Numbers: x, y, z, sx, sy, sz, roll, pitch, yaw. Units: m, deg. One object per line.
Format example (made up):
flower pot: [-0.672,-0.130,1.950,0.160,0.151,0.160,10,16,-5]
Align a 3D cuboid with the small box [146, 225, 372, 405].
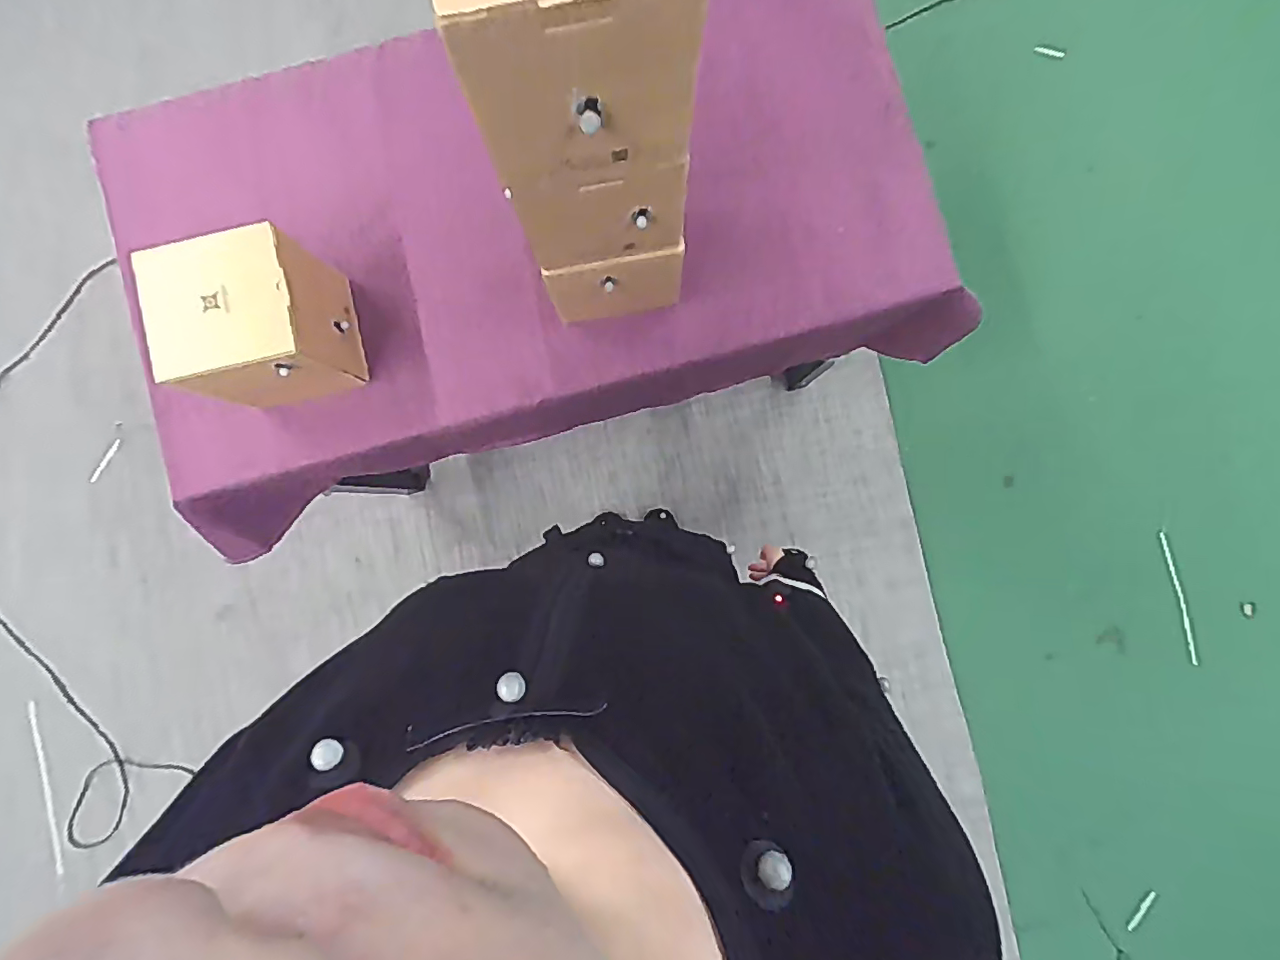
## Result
small box: [-0.504,-0.211,0.737,0.179,0.176,0.168,-13,87,0]

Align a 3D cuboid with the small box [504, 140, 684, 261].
small box: [-0.048,-0.349,0.567,0.168,0.176,0.179,-9,86,1]

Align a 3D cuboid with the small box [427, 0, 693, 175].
small box: [-0.056,-0.358,0.403,0.168,0.176,0.179,-10,87,0]

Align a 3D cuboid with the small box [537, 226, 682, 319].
small box: [-0.042,-0.332,0.729,0.179,0.176,0.168,-9,87,1]
